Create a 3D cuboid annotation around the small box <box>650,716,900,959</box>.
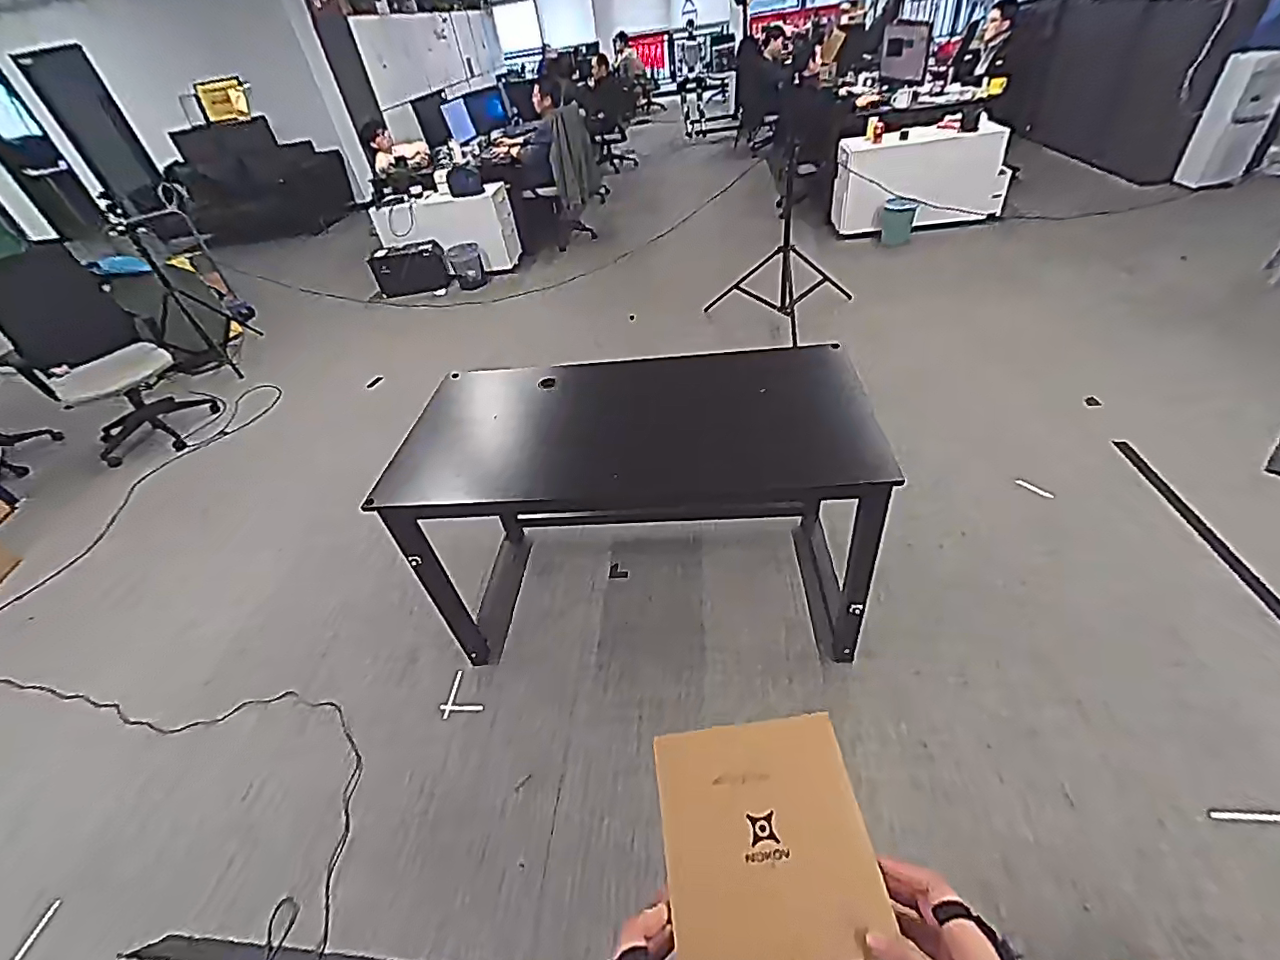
[{"bbox_3d":[0.105,0.344,0.496,0.168,0.176,0.179,-8,45,-1],"label":"small box"}]
